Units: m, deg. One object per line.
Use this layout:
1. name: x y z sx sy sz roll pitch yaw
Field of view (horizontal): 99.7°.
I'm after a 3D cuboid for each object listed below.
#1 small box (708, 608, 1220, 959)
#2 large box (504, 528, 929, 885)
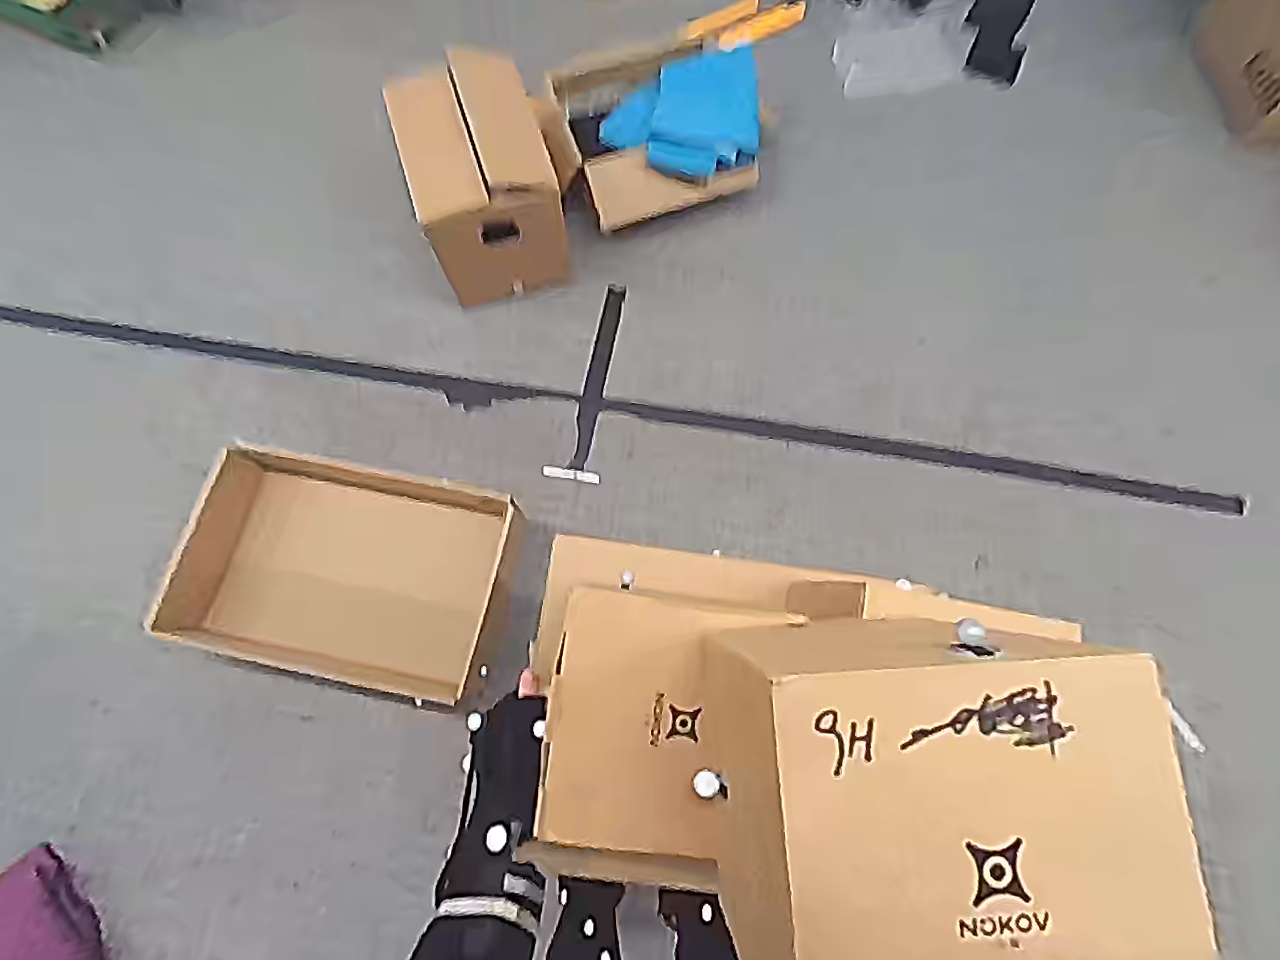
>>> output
1. small box: 0.133 0.167 0.285 0.168 0.176 0.179 -2 81 -3
2. large box: 0.078 0.256 0.672 0.408 0.320 0.320 9 77 -2
